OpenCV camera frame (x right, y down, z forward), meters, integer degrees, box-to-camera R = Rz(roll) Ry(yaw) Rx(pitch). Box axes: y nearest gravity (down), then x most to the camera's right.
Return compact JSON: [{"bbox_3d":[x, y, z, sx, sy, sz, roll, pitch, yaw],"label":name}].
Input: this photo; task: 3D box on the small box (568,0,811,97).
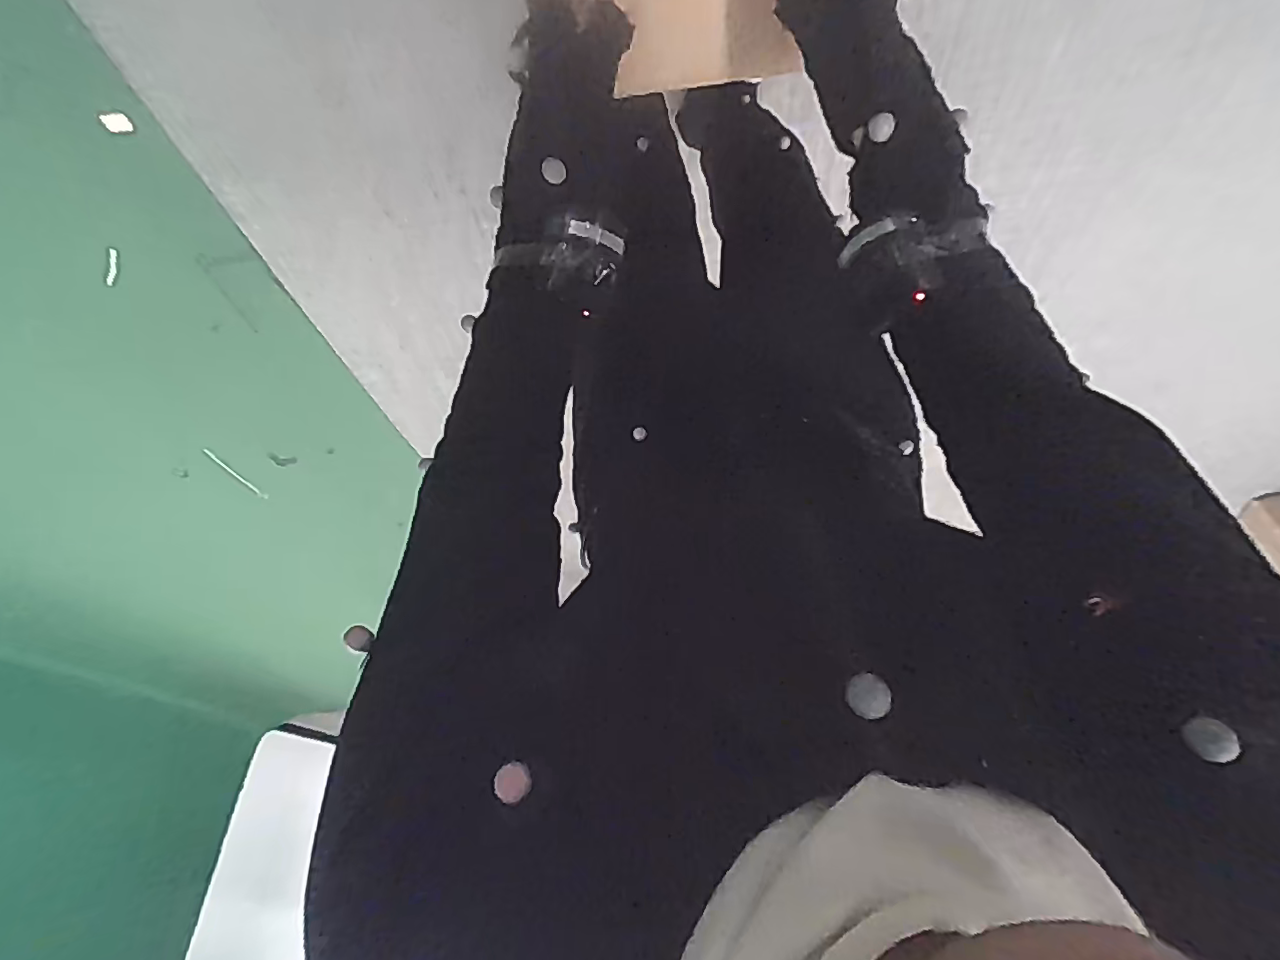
[{"bbox_3d":[0.027,-0.423,0.402,0.179,0.176,0.168,-6,146,2],"label":"small box"}]
